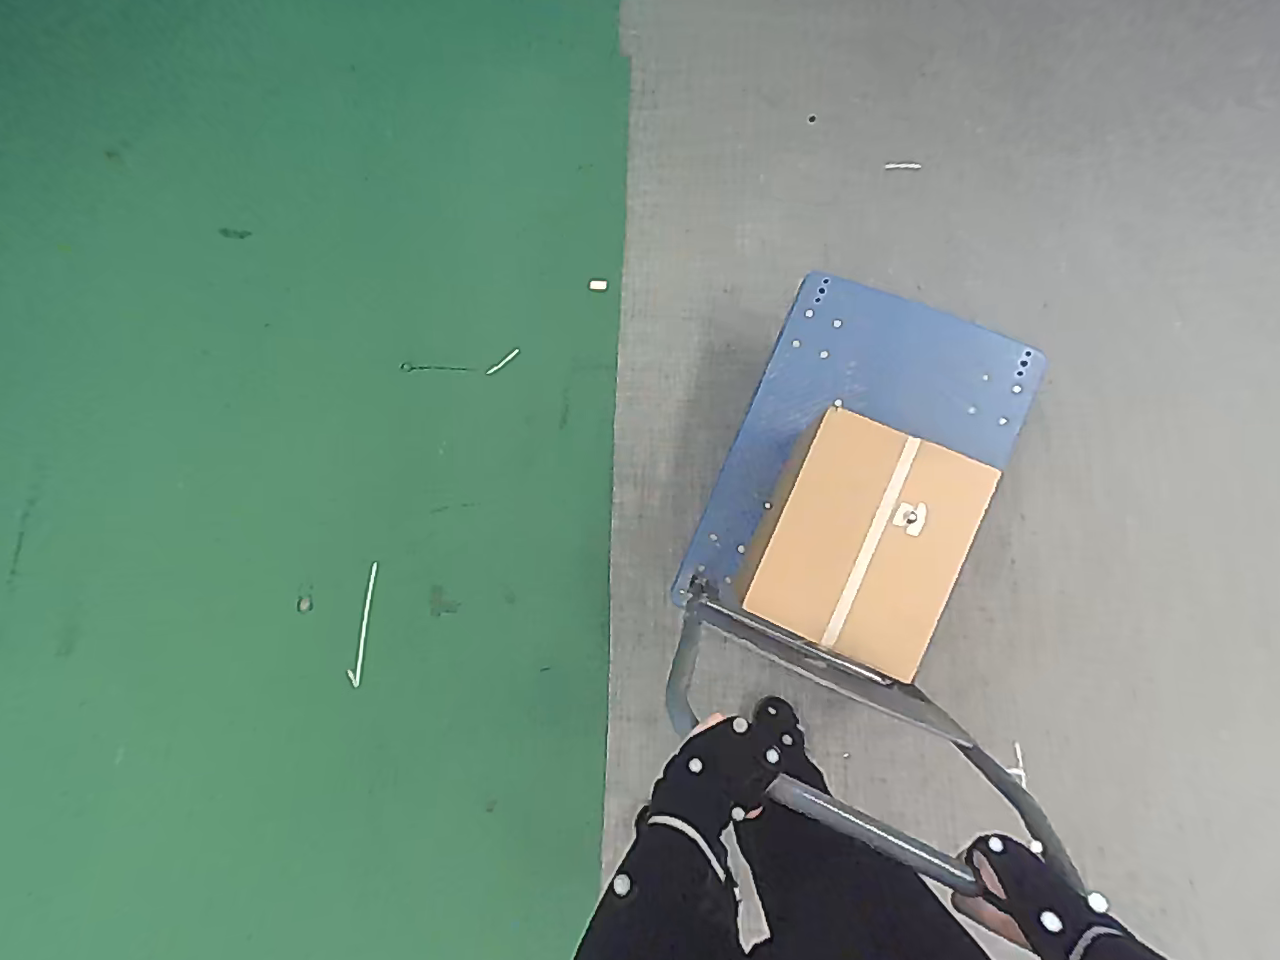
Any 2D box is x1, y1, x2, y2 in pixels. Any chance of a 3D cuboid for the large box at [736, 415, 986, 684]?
[{"bbox_3d":[0.416,0.134,1.115,0.320,0.320,0.408,24,88,8],"label":"large box"}]
